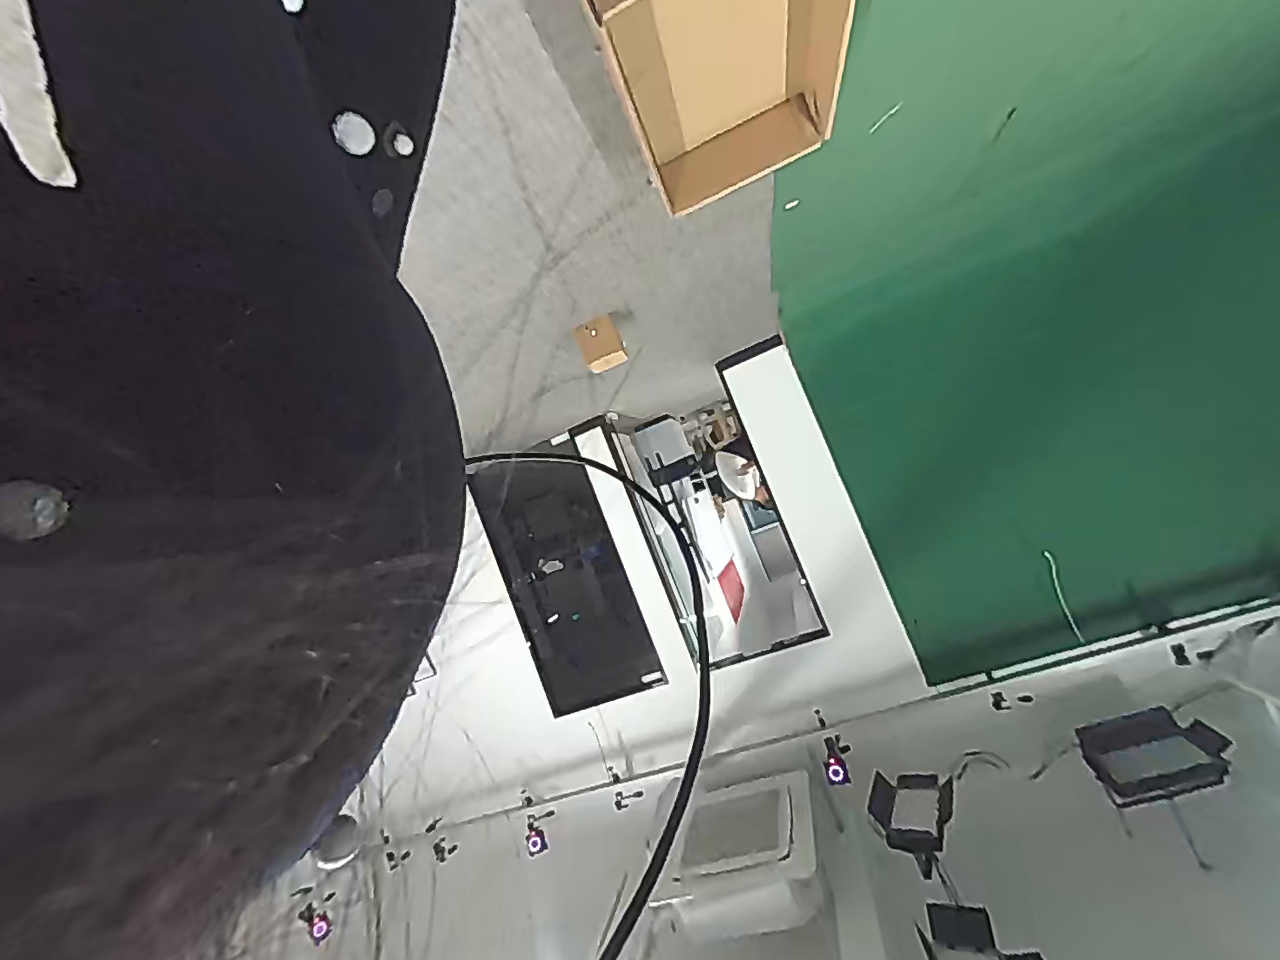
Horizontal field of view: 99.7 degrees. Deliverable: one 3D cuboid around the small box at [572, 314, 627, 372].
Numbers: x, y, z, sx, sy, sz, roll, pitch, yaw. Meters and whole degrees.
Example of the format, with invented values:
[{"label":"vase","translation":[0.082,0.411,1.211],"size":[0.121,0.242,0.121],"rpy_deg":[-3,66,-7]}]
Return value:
[{"label":"small box","translation":[-0.171,-0.588,2.317],"size":[0.168,0.176,0.179],"rpy_deg":[-22,176,8]}]
